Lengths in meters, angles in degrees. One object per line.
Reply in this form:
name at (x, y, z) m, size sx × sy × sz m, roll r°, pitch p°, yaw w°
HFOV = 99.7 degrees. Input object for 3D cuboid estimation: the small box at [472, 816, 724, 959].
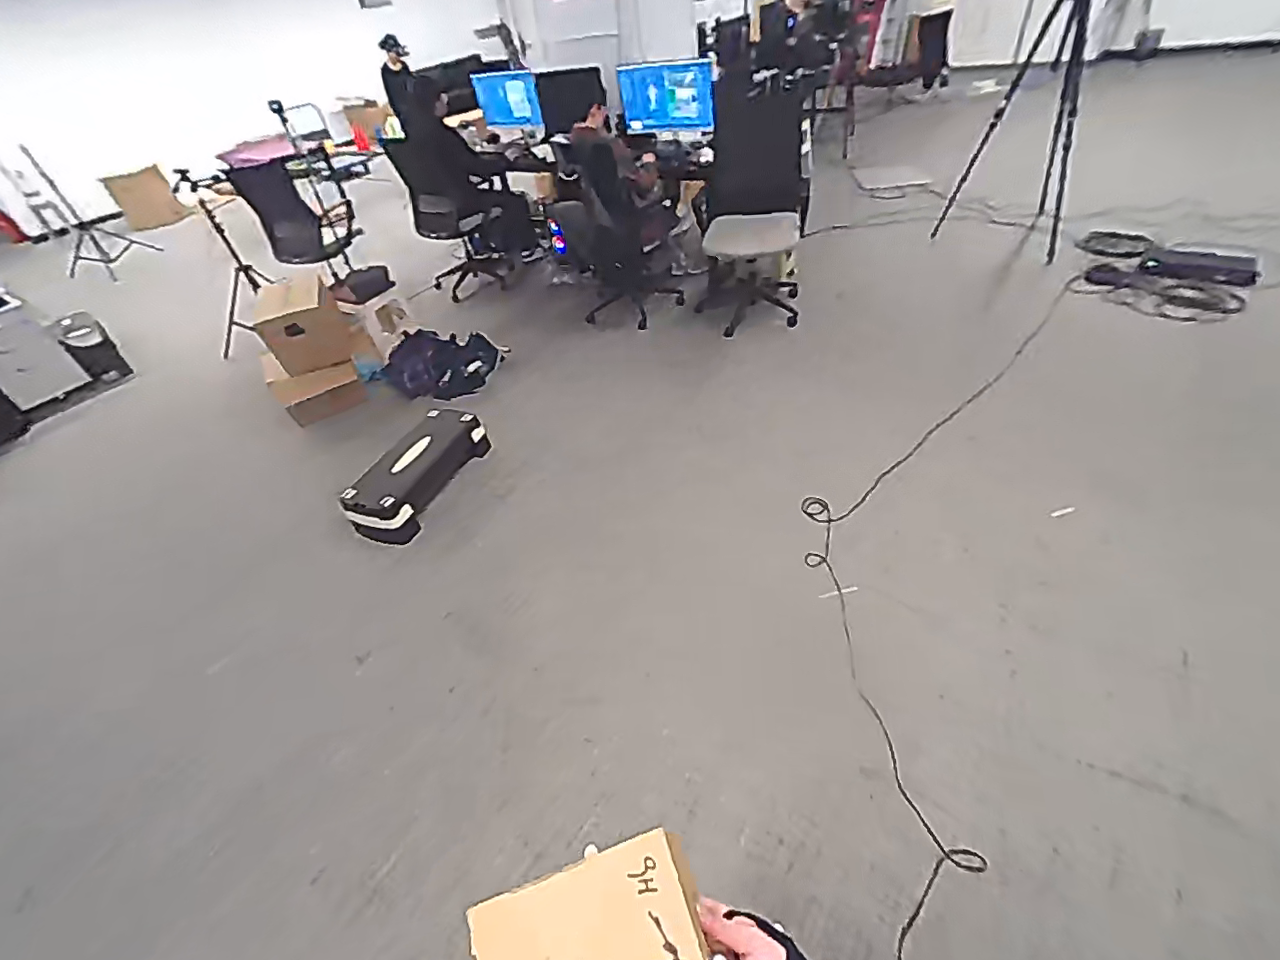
small box at (-0.024, 0.422, 0.477) m, size 0.179 × 0.176 × 0.168 m, roll -20°, pitch 56°, yaw -3°
